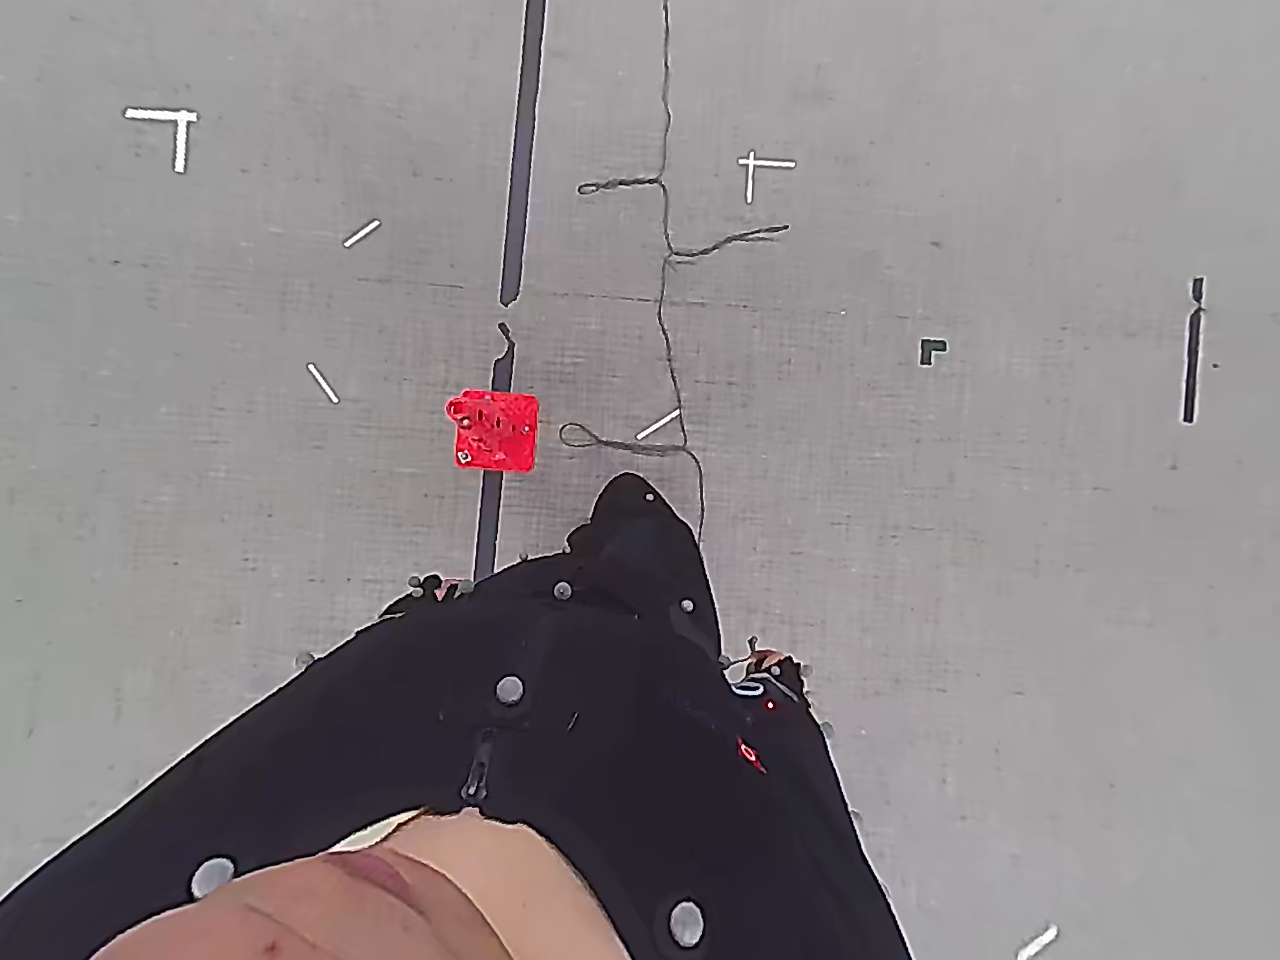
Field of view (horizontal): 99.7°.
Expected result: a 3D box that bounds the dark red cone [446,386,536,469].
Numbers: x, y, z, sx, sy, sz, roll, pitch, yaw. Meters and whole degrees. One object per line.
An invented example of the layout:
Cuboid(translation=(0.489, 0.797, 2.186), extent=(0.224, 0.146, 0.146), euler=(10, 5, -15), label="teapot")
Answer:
Cuboid(translation=(-0.352, -0.138, 1.179), extent=(0.201, 0.394, 0.202), euler=(4, 88, -4), label="dark red cone")
